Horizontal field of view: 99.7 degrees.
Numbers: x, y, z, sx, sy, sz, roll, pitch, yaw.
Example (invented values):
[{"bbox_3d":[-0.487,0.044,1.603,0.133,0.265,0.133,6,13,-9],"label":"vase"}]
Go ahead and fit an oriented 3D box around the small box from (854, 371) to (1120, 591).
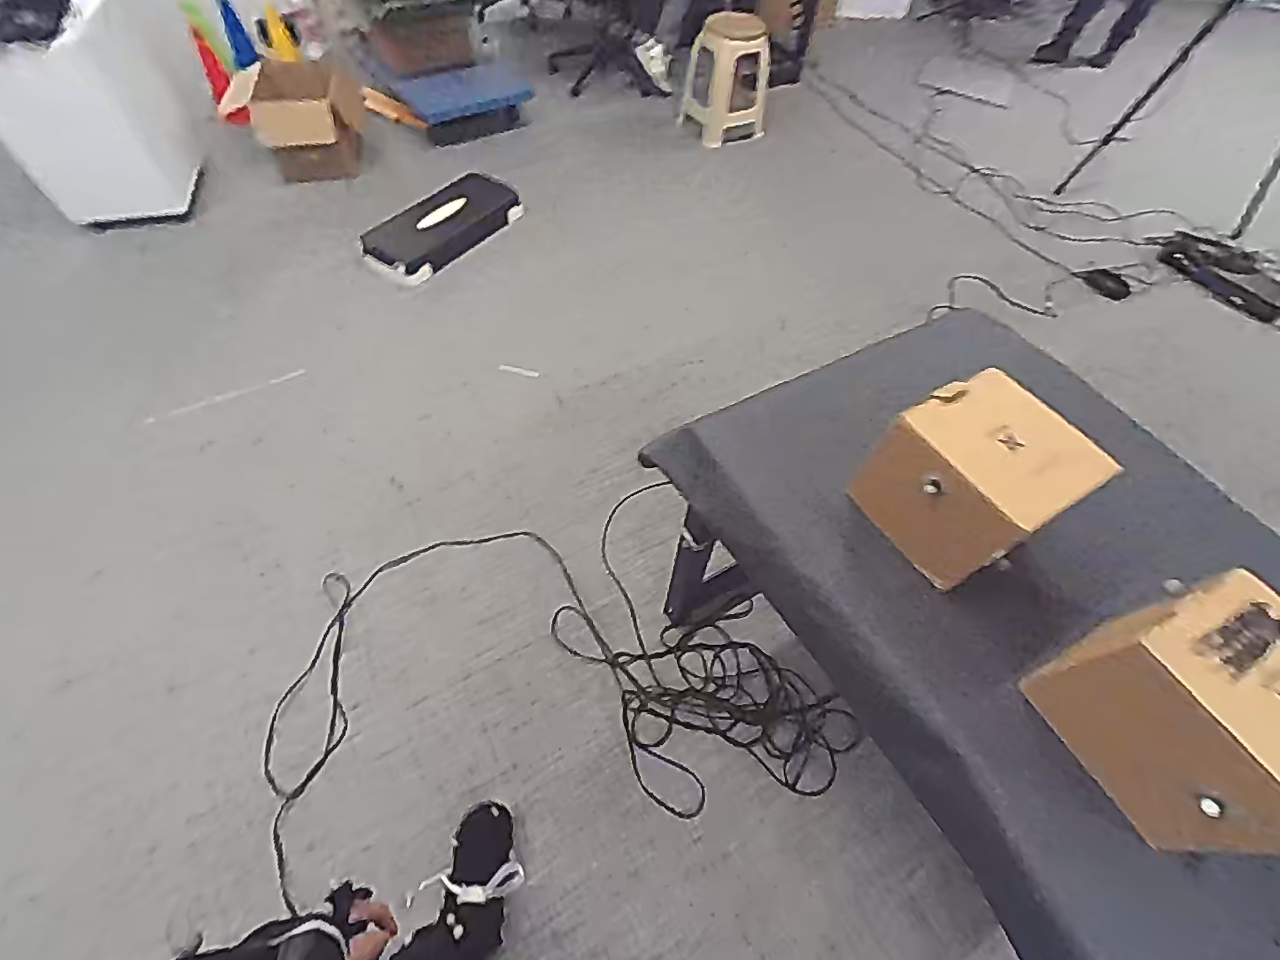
[{"bbox_3d":[0.399,0.004,0.660,0.168,0.176,0.179,-24,62,-18],"label":"small box"}]
